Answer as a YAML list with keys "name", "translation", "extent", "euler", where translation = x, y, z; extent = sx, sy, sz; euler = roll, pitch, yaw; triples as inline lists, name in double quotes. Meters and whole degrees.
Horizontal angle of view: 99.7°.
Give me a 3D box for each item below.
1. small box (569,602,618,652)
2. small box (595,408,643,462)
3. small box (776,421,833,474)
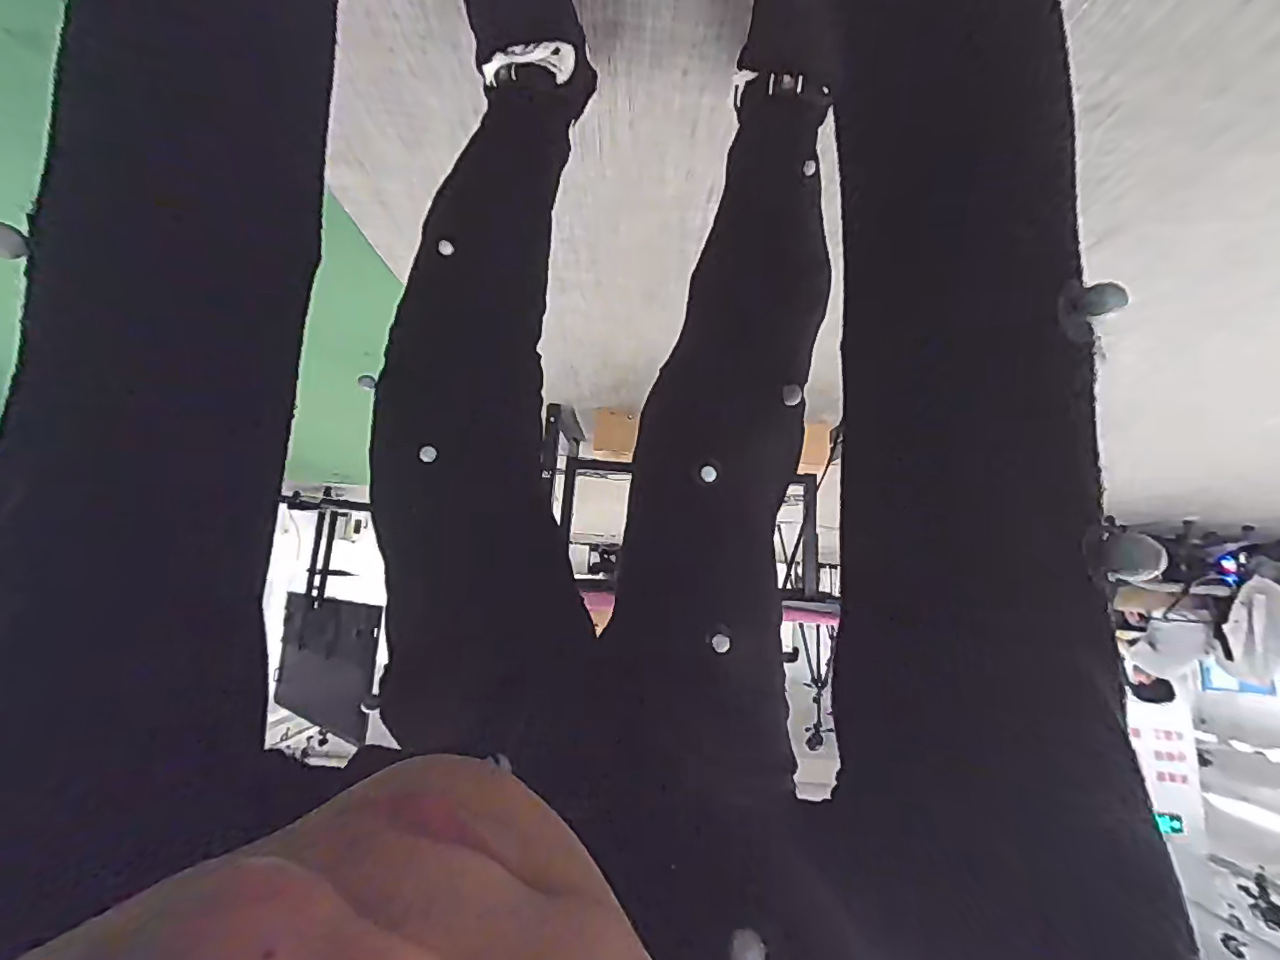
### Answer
- name: "small box"
  translation: [-0.178, 0.555, 2.054]
  extent: [0.168, 0.176, 0.179]
  euler: [6, 169, -10]
- name: "small box"
  translation: [-0.077, -0.172, 2.086]
  extent: [0.168, 0.176, 0.179]
  euler: [4, 170, 3]
- name: "small box"
  translation: [0.629, -0.124, 2.073]
  extent: [0.179, 0.176, 0.168]
  euler: [4, 170, 1]
